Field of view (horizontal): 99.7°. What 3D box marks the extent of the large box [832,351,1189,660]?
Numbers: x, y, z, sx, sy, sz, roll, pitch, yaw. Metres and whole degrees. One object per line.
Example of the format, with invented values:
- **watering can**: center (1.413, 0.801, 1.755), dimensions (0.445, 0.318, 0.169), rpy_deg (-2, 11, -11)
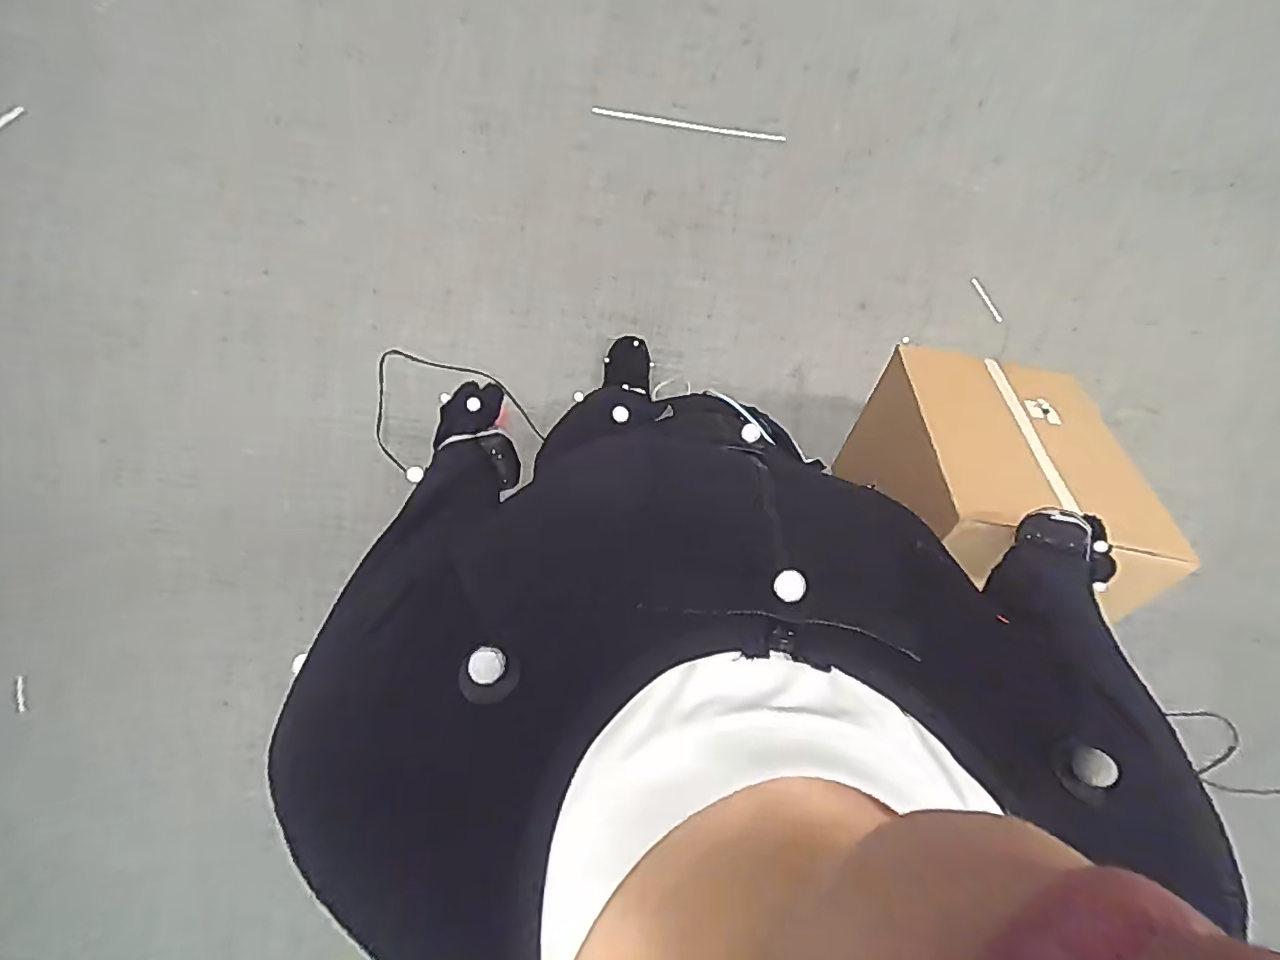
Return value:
- **large box**: center (0.554, 0.039, 0.927), dimensions (0.320, 0.408, 0.320), rpy_deg (11, 135, -1)
